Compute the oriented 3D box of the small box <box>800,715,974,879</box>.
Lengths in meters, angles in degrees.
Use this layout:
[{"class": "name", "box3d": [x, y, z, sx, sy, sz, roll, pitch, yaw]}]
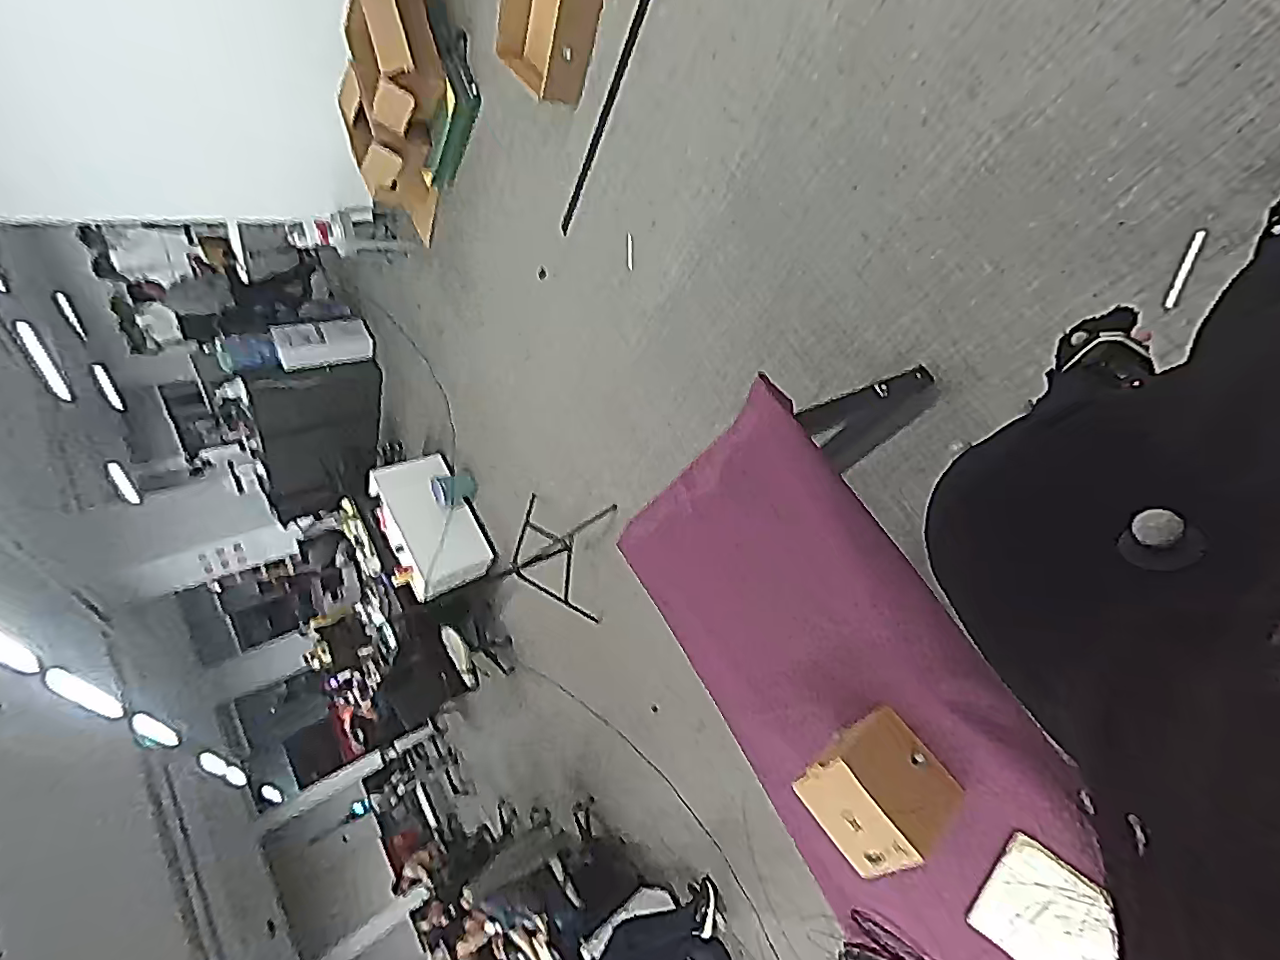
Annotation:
[{"class": "small box", "box3d": [0.423, 0.536, 0.934, 0.179, 0.176, 0.168, 51, 141, 25]}]
